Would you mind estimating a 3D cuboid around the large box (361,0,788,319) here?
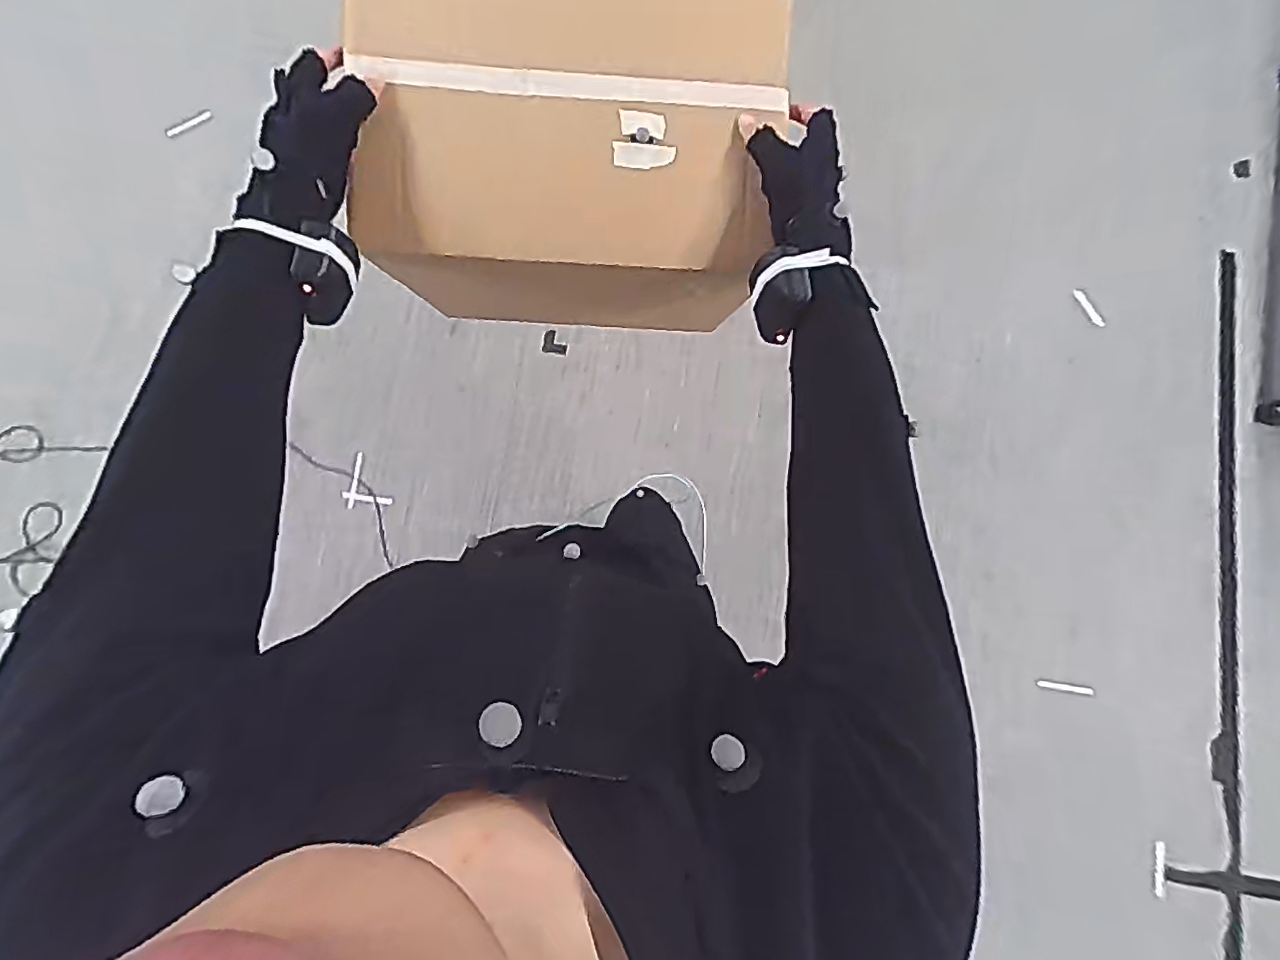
[{"bbox_3d":[-0.070,-0.387,0.657,0.408,0.320,0.320,2,96,-5],"label":"large box"}]
